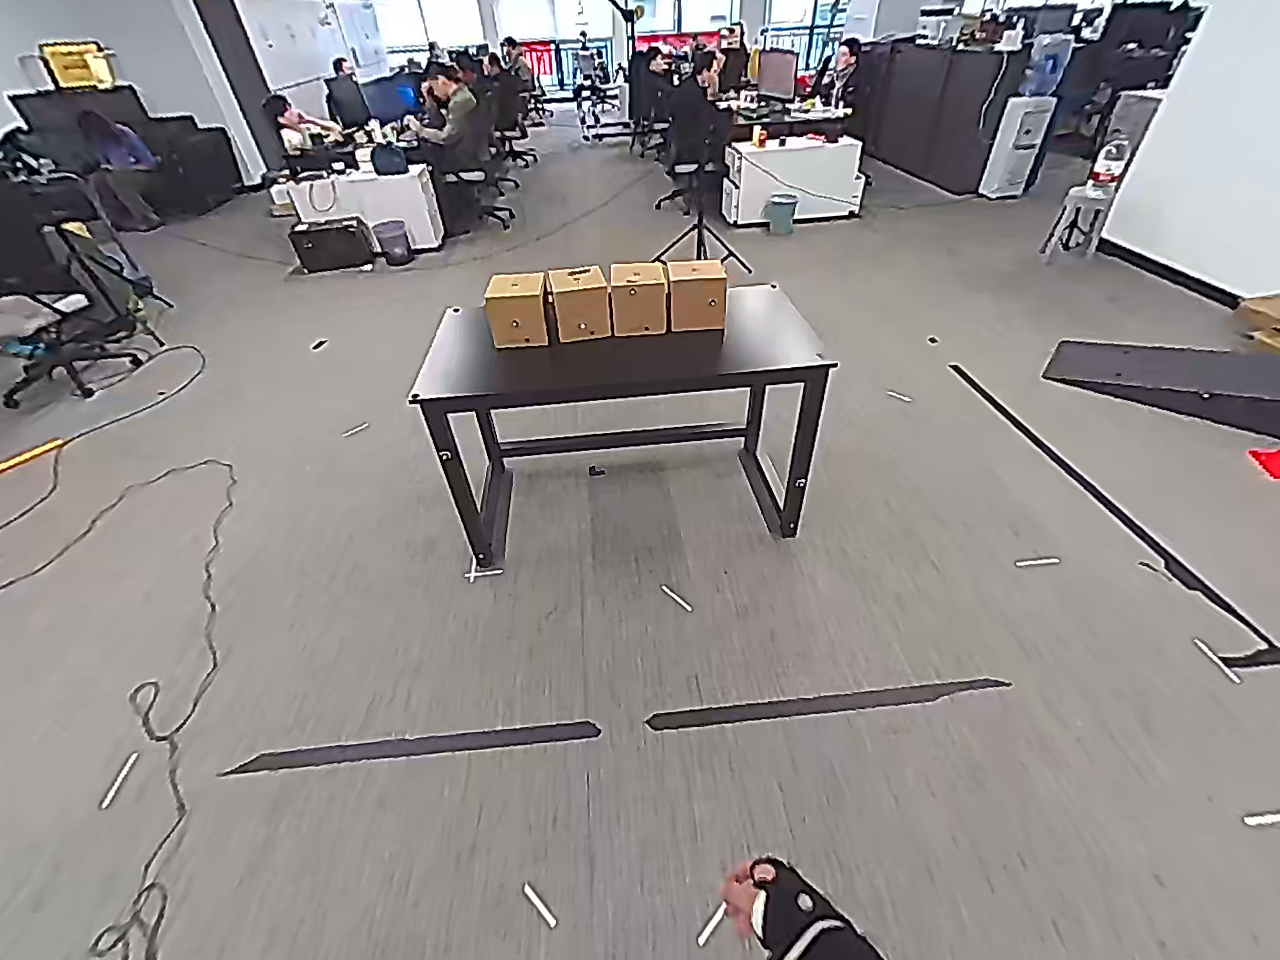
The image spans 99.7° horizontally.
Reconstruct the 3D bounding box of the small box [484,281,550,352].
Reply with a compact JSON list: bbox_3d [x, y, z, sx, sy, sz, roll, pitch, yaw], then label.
[{"bbox_3d":[-0.383,-0.515,1.717,0.168,0.176,0.179,-4,40,-1],"label":"small box"}]
